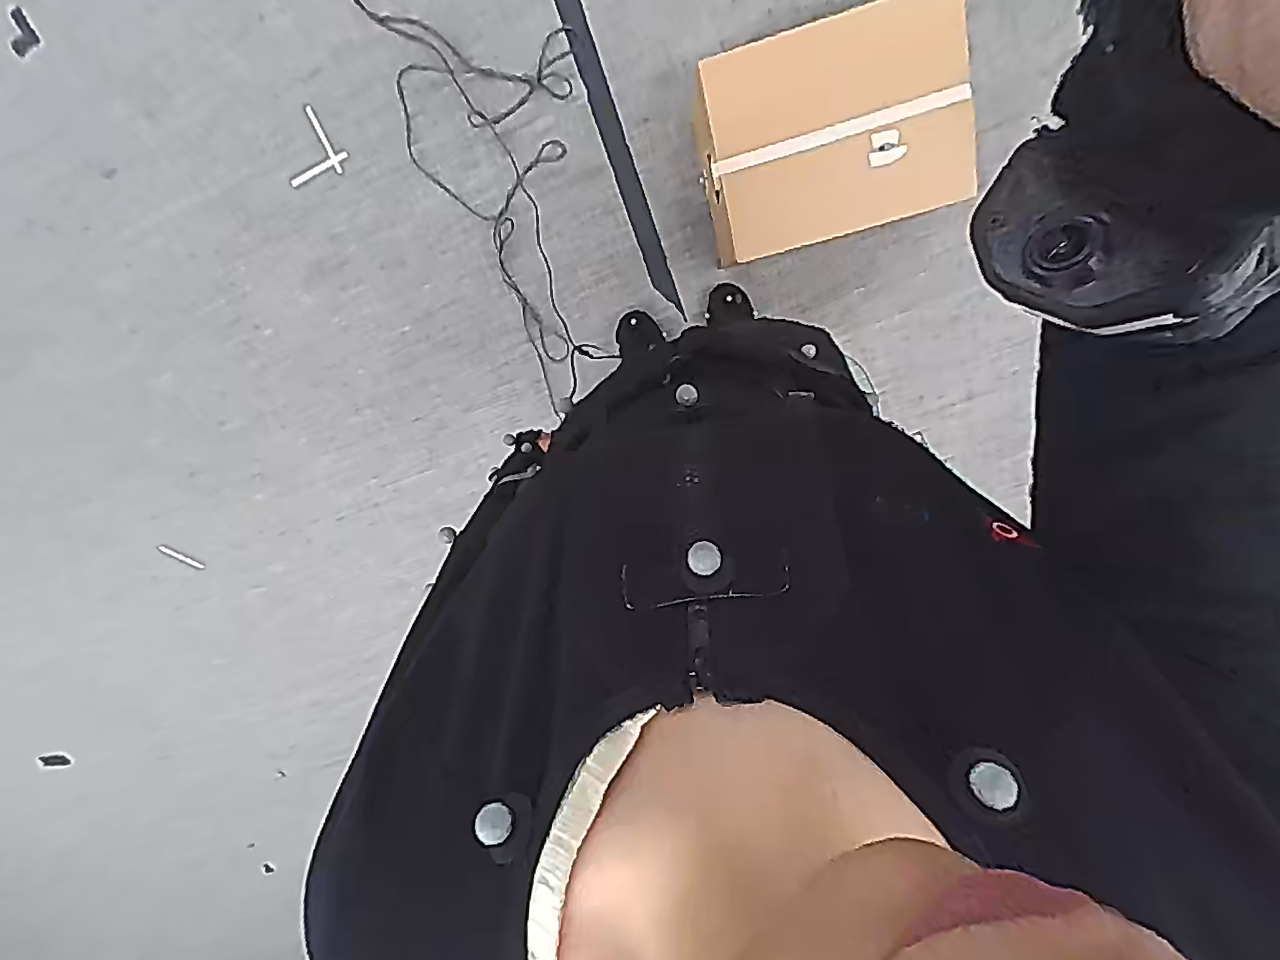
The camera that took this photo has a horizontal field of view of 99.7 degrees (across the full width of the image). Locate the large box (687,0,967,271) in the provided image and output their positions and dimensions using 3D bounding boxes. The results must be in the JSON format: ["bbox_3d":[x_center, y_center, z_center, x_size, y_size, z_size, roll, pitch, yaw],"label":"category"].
[{"bbox_3d":[0.322,-0.612,1.022,0.408,0.320,0.320,-13,109,7],"label":"large box"}]
